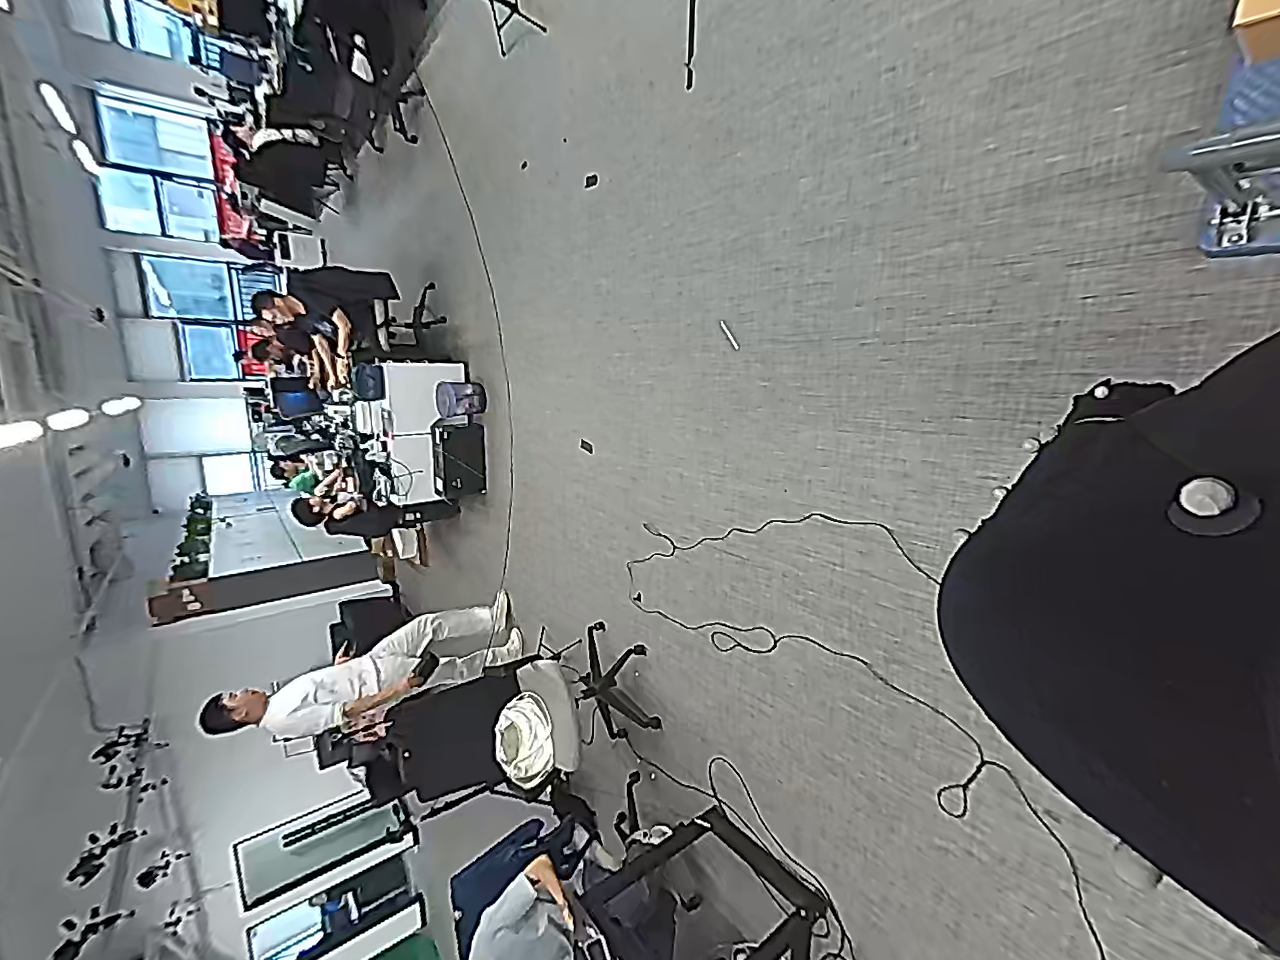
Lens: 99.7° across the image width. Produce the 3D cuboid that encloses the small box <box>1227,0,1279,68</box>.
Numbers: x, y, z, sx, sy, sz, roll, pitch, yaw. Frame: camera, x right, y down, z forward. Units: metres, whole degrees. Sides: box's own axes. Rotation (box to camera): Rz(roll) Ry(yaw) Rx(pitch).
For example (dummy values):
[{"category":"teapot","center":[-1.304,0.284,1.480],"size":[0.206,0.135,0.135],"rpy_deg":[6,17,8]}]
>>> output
[{"category":"small box","center":[0.955,-0.707,0.737],"size":[0.179,0.176,0.168],"rpy_deg":[17,110,48]}]
